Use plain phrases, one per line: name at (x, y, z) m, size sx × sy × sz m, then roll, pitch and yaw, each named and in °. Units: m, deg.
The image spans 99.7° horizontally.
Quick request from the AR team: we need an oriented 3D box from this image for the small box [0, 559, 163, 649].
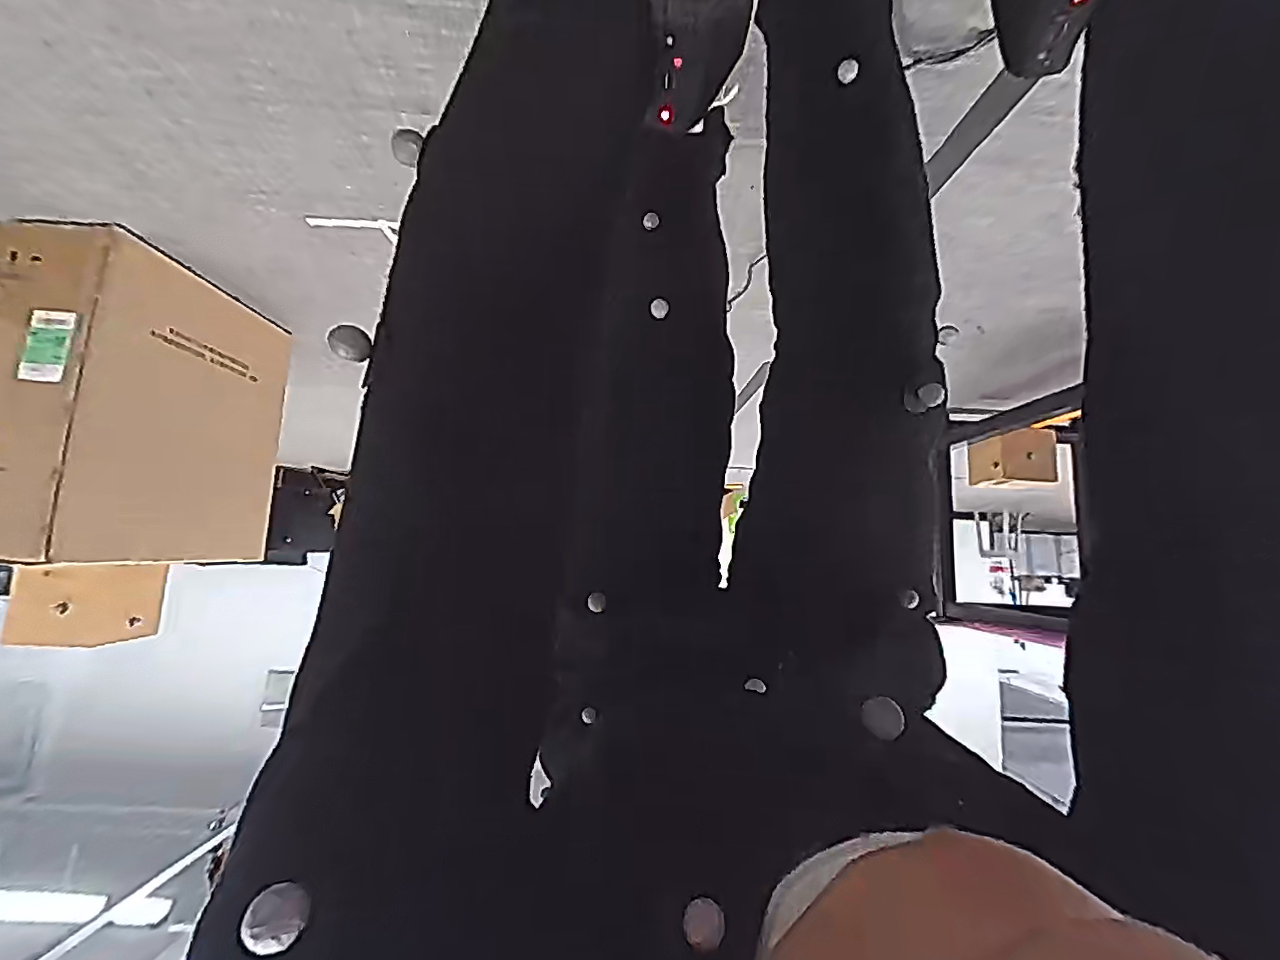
small box at (-1.164, 0.255, 1.139) m, size 0.168 × 0.176 × 0.179 m, roll 3°, pitch 173°, yaw -4°
